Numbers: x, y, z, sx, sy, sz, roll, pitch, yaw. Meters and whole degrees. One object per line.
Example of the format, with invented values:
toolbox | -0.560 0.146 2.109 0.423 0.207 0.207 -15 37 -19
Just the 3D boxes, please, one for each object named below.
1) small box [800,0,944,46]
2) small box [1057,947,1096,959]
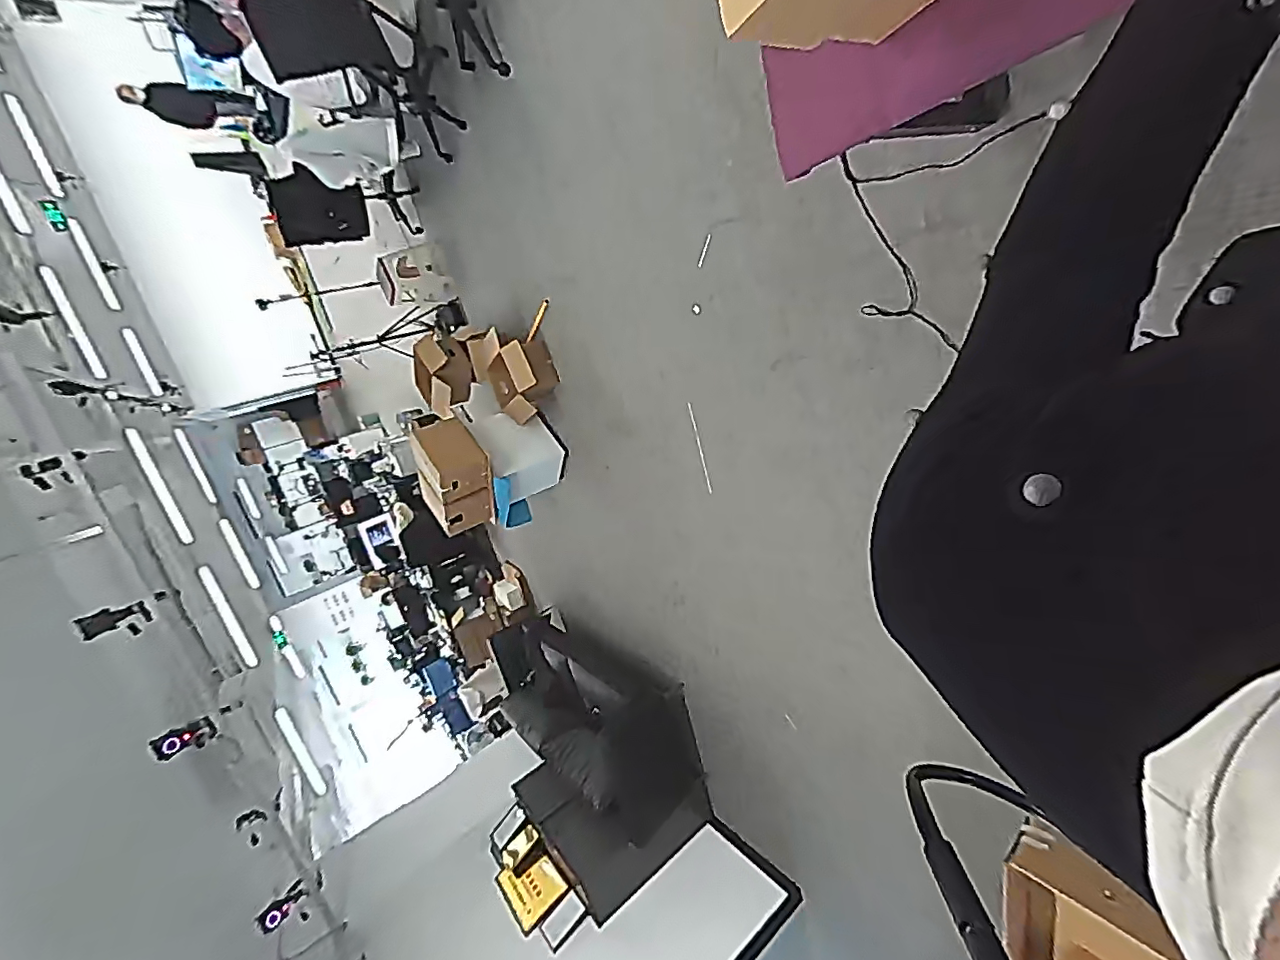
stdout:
small box | 0.314 -0.692 0.681 0.179 0.176 0.168 -1 110 57
small box | 1.187 1.389 1.417 0.179 0.176 0.168 12 120 53
